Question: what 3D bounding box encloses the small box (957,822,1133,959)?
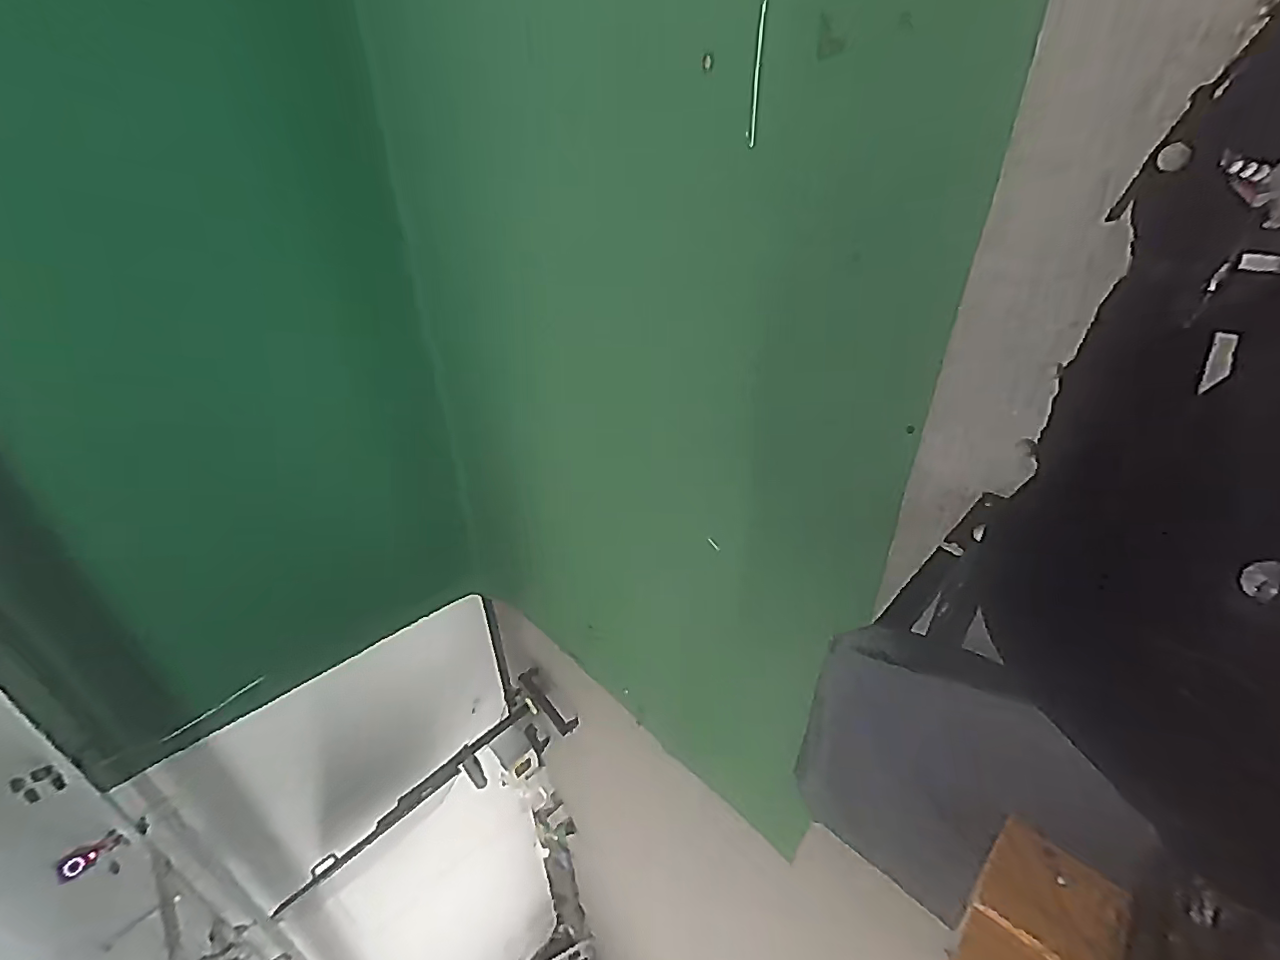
[{"bbox_3d":[0.630,0.692,0.844,0.168,0.176,0.179,24,129,38],"label":"small box"}]
